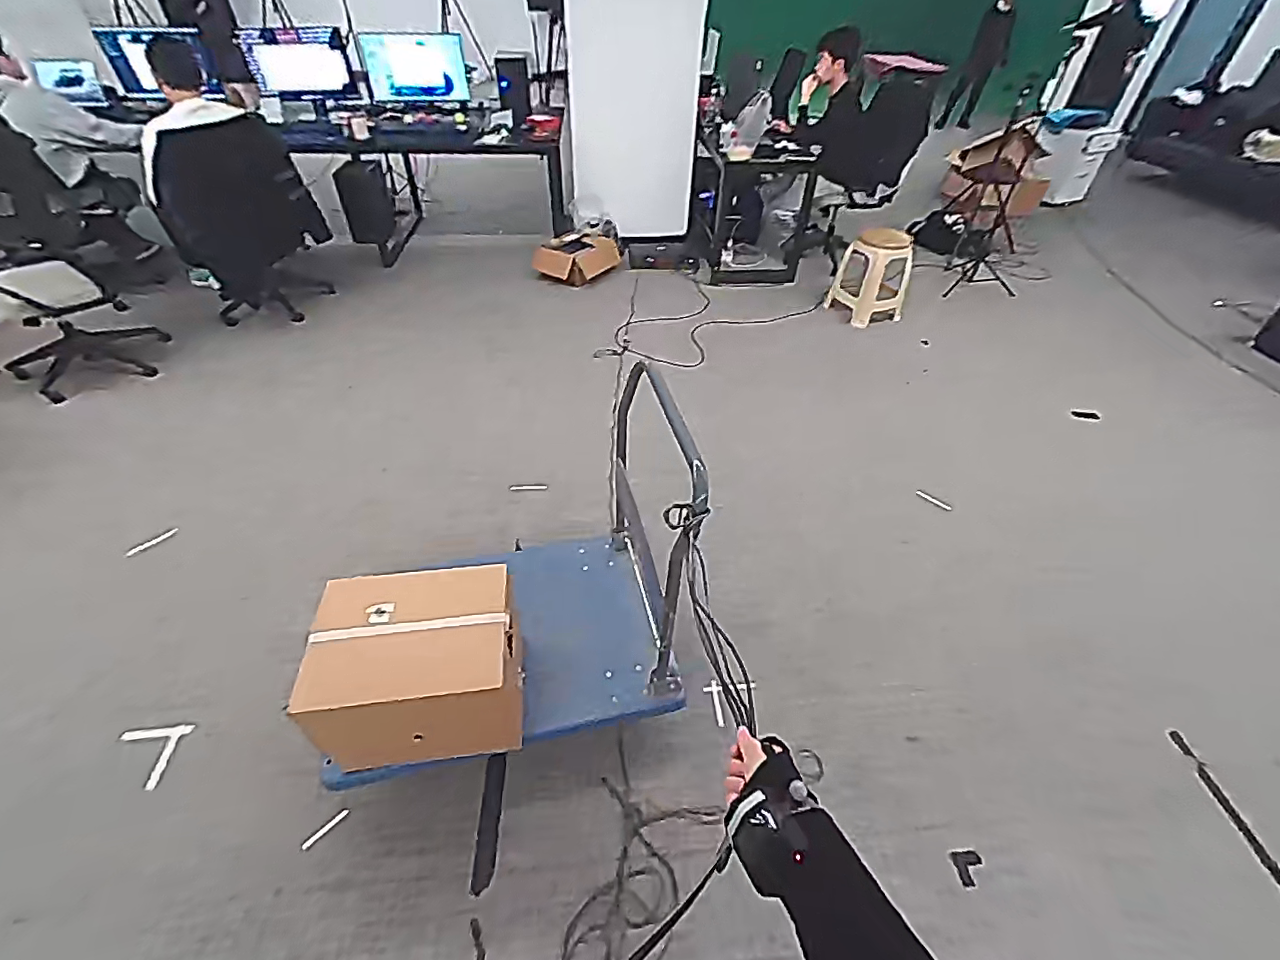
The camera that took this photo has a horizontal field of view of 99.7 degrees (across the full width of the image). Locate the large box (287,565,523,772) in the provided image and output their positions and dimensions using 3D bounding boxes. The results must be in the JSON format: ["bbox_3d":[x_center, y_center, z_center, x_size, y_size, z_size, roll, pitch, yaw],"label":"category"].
[{"bbox_3d":[-0.489,0.431,1.241,0.408,0.320,0.320,-5,43,-7],"label":"large box"}]
